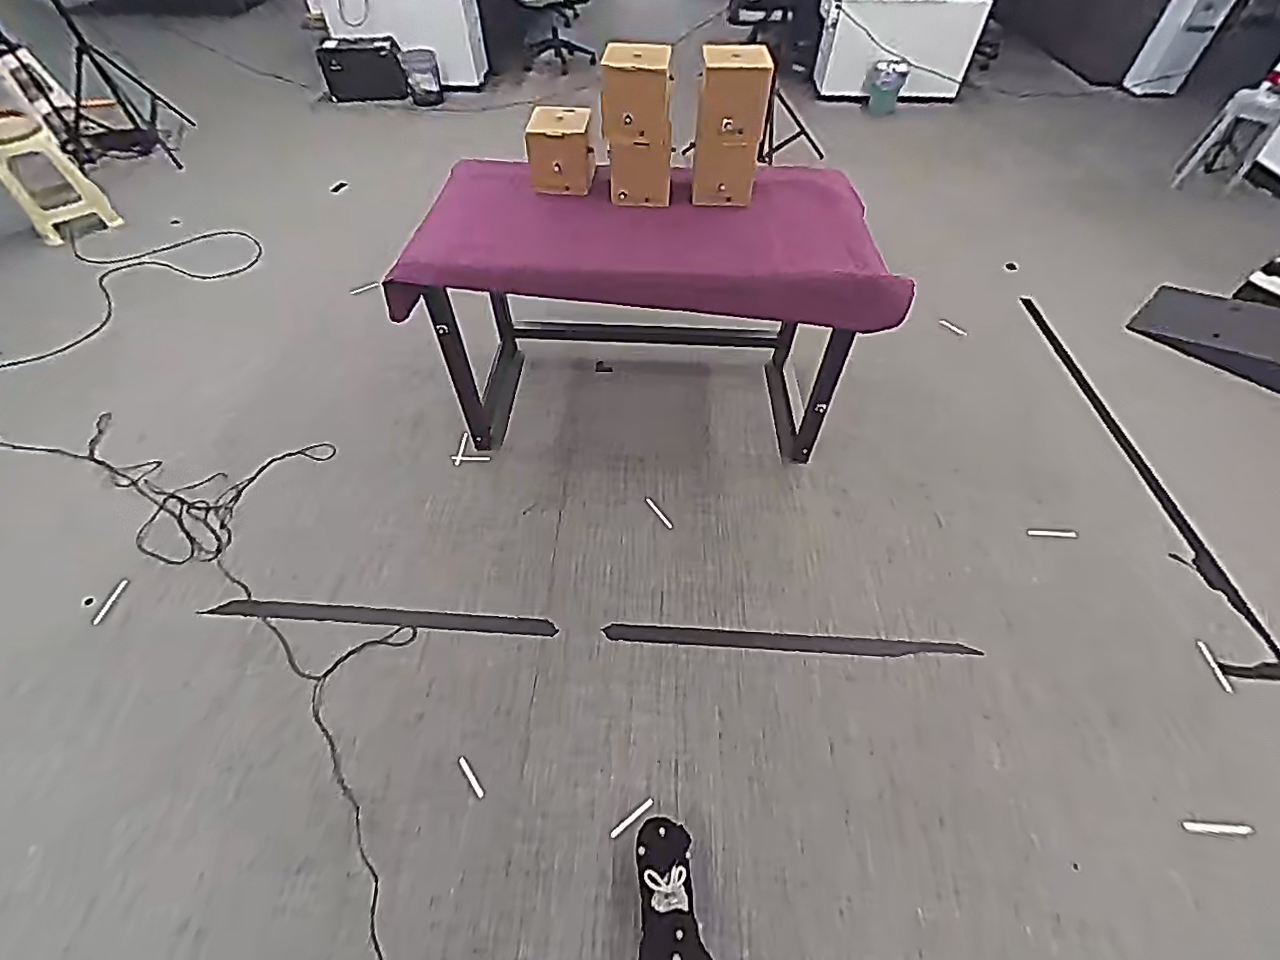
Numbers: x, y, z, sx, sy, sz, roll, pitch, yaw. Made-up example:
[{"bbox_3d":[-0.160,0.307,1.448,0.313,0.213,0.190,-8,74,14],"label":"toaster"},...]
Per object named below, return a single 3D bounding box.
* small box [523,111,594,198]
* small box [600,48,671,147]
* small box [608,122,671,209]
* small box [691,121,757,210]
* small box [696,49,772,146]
[{"bbox_3d":[-0.229,-0.947,1.577,0.168,0.176,0.179,4,54,2],"label":"small box"},{"bbox_3d":[-0.011,-0.999,1.415,0.168,0.176,0.179,4,54,3],"label":"small box"},{"bbox_3d":[0.001,-0.895,1.540,0.168,0.176,0.179,2,52,1],"label":"small box"},{"bbox_3d":[0.233,-0.901,1.547,0.168,0.176,0.179,2,53,2],"label":"small box"},{"bbox_3d":[0.240,-1.004,1.422,0.168,0.176,0.179,0,53,1],"label":"small box"}]
